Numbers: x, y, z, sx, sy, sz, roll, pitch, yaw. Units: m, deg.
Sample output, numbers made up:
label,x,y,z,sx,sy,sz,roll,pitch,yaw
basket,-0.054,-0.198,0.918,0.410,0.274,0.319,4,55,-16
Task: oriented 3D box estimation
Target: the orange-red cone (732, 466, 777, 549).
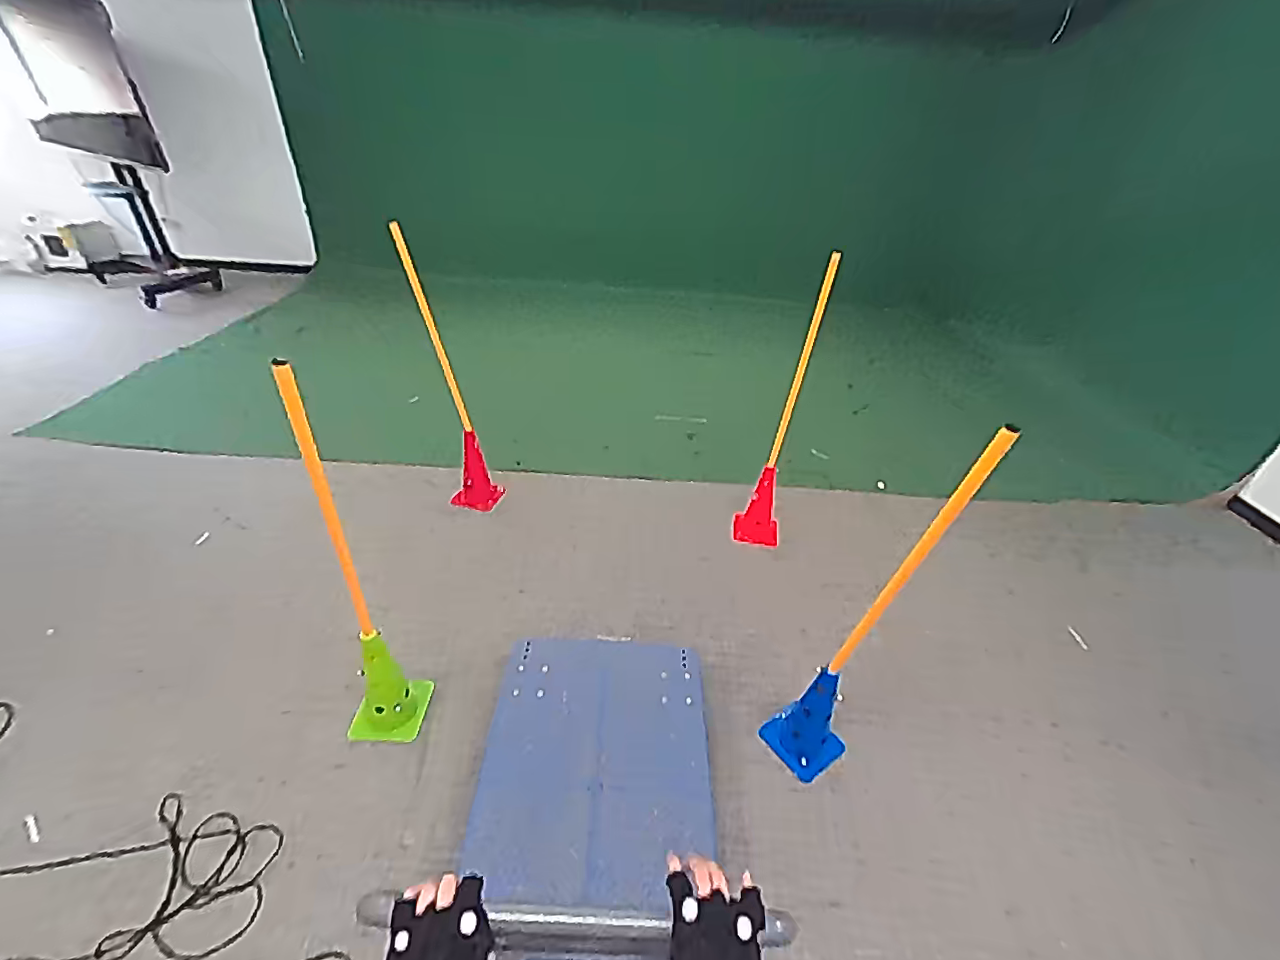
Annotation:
label,x,y,z,sx,sy,sz,roll,pitch,yaw
orange-red cone,0.528,0.097,2.351,0.198,0.360,0.199,9,36,8
